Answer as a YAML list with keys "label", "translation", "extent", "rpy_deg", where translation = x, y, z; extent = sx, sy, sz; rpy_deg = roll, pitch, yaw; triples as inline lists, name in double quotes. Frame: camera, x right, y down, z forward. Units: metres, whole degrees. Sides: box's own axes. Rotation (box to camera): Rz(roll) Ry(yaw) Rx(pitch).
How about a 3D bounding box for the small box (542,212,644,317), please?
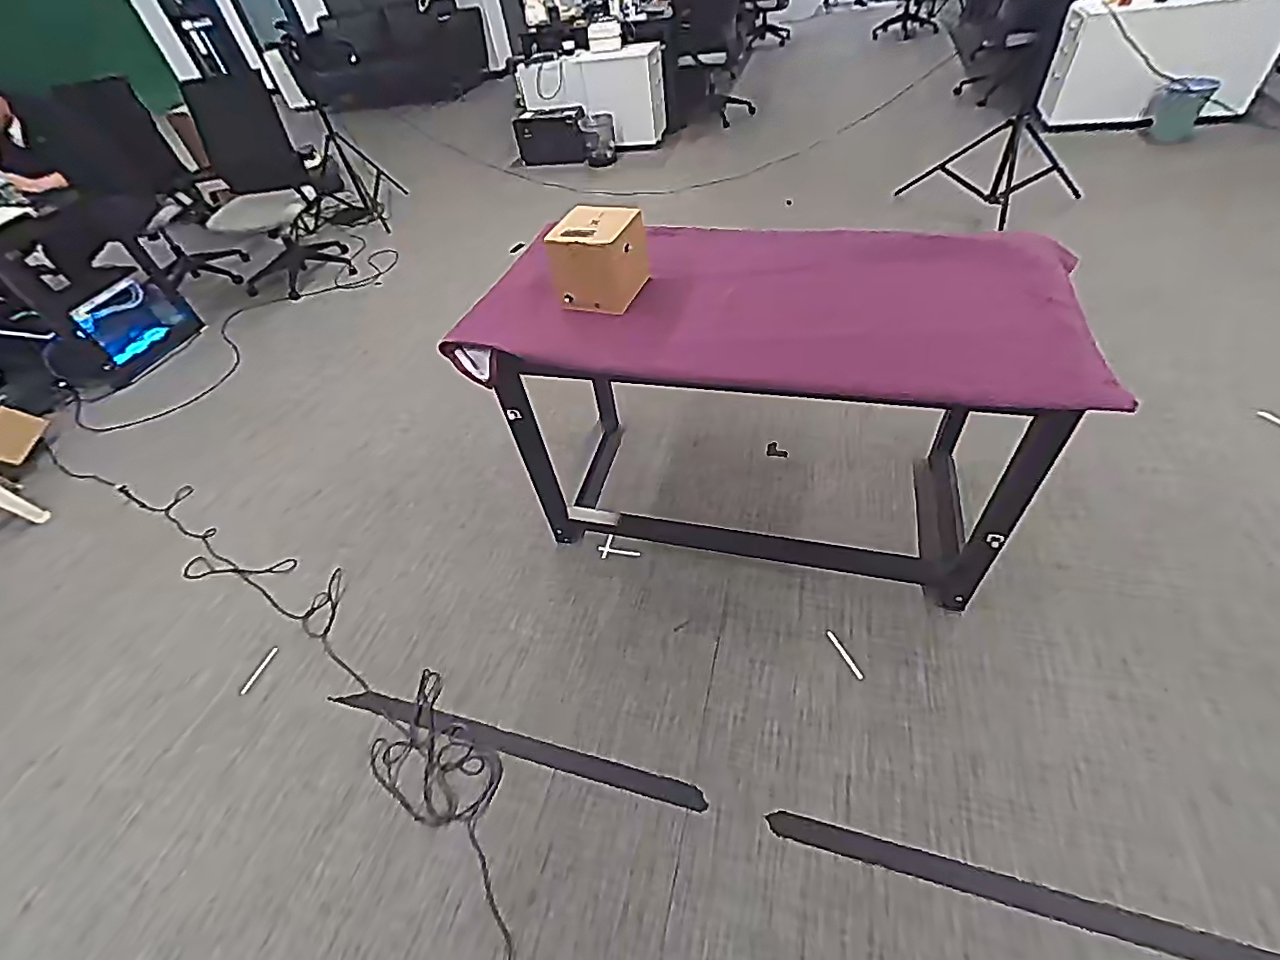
- label: "small box"
  translation: [-0.098, -0.499, 1.254]
  extent: [0.168, 0.176, 0.179]
  rpy_deg: [12, 51, 19]
